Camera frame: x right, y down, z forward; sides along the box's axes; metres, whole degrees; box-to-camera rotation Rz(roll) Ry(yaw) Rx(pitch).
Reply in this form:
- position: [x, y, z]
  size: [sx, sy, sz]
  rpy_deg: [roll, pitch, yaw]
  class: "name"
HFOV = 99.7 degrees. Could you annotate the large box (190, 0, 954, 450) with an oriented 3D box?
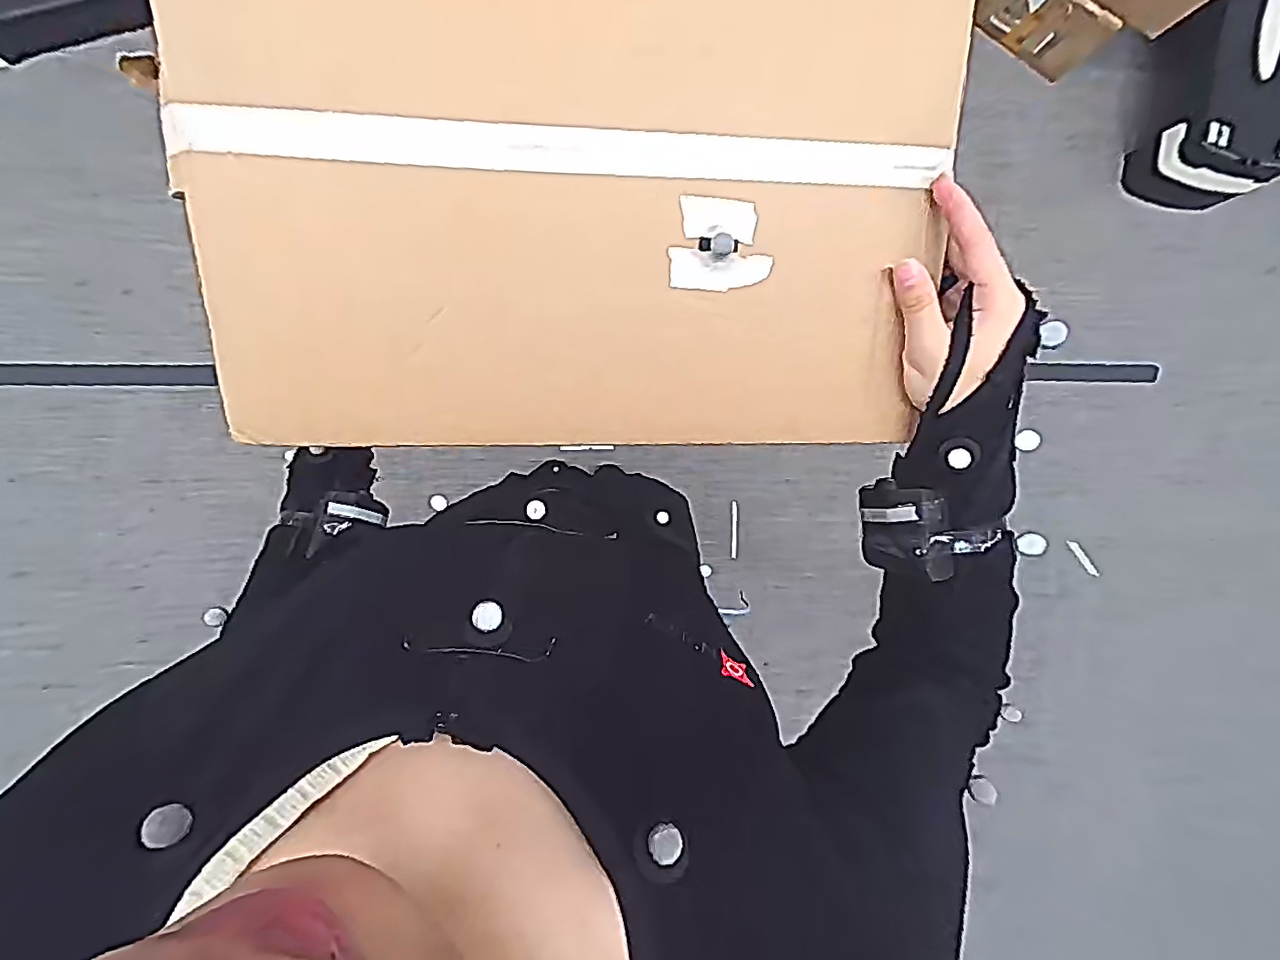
- position: [-0.042, -0.208, 0.443]
  size: [0.408, 0.320, 0.320]
  rpy_deg: [-1, 104, -8]
  class: "large box"
